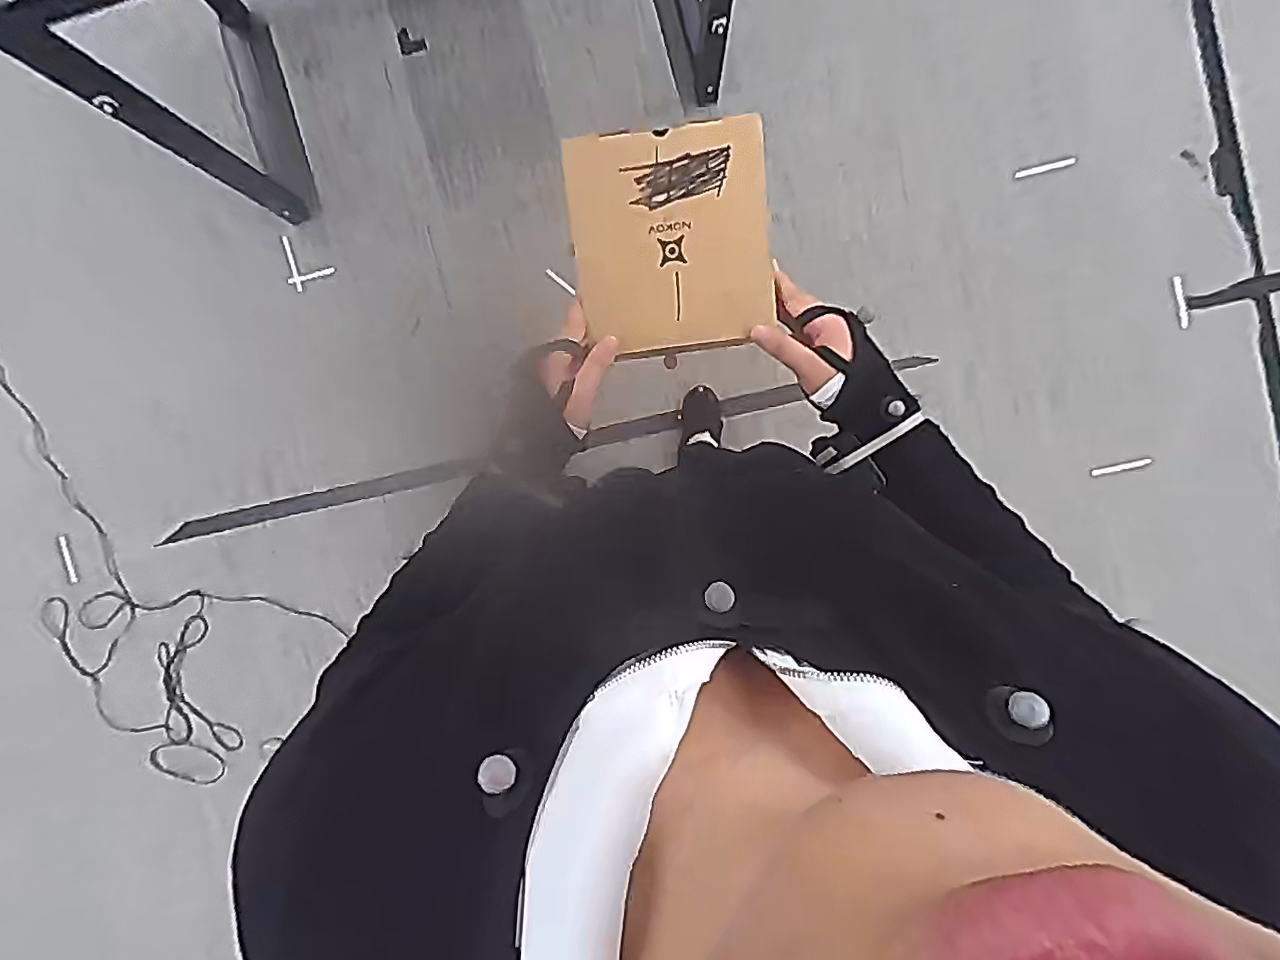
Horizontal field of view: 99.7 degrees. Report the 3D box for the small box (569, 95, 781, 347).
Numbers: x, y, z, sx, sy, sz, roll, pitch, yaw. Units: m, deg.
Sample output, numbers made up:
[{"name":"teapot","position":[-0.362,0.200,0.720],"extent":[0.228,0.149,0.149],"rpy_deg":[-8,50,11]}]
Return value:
[{"name":"small box","position":[0.031,-0.231,0.528],"extent":[0.168,0.176,0.179],"rpy_deg":[-7,101,2]}]
